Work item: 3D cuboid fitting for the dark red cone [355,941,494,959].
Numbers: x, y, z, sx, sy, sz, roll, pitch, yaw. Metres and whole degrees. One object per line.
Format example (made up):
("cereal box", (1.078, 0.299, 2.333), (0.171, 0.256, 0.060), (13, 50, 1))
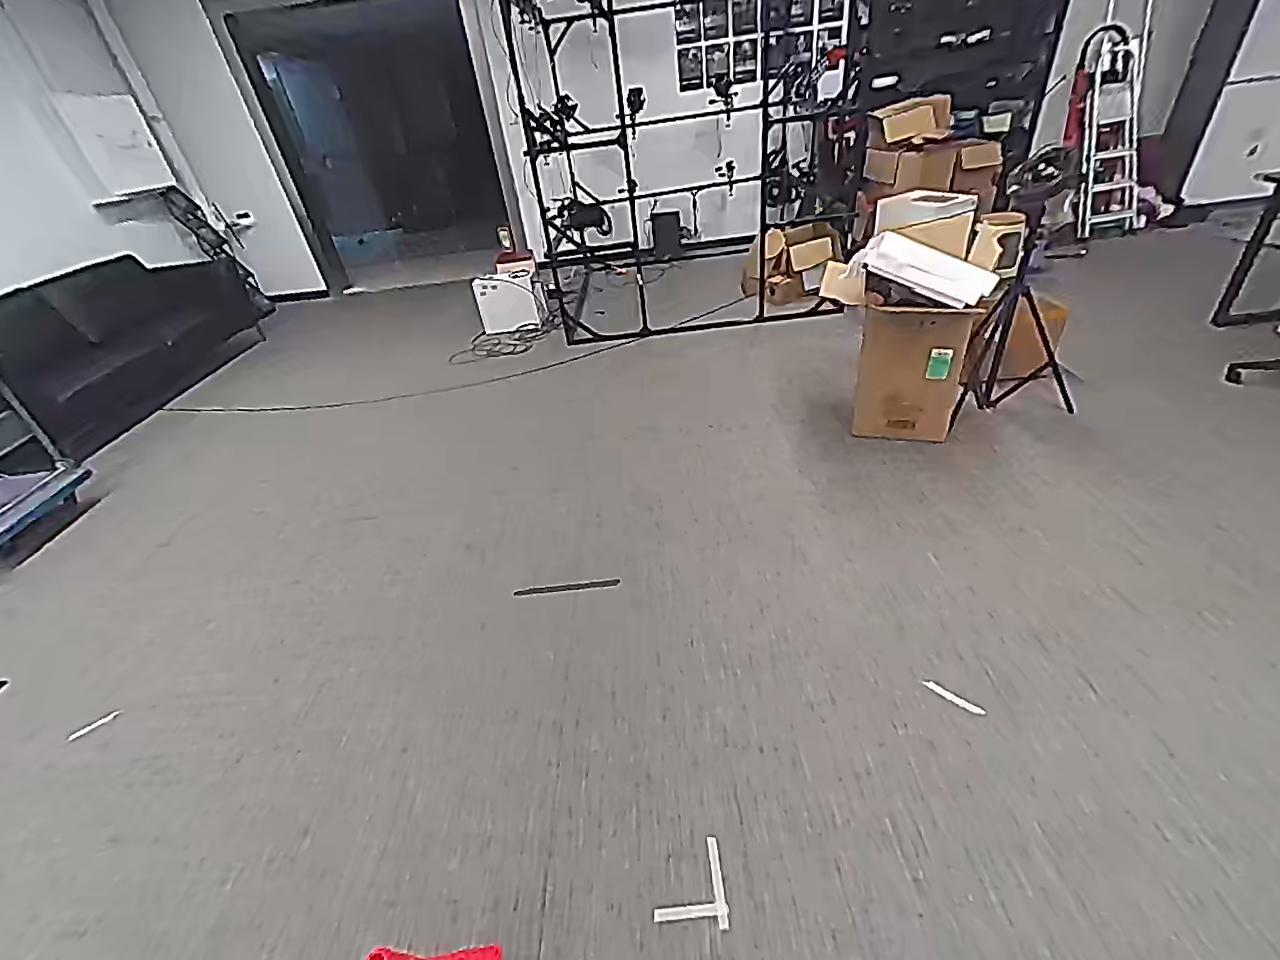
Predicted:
("dark red cone", (-0.396, 0.882, 0.924), (0.202, 0.394, 0.201), (-10, 36, -3))
